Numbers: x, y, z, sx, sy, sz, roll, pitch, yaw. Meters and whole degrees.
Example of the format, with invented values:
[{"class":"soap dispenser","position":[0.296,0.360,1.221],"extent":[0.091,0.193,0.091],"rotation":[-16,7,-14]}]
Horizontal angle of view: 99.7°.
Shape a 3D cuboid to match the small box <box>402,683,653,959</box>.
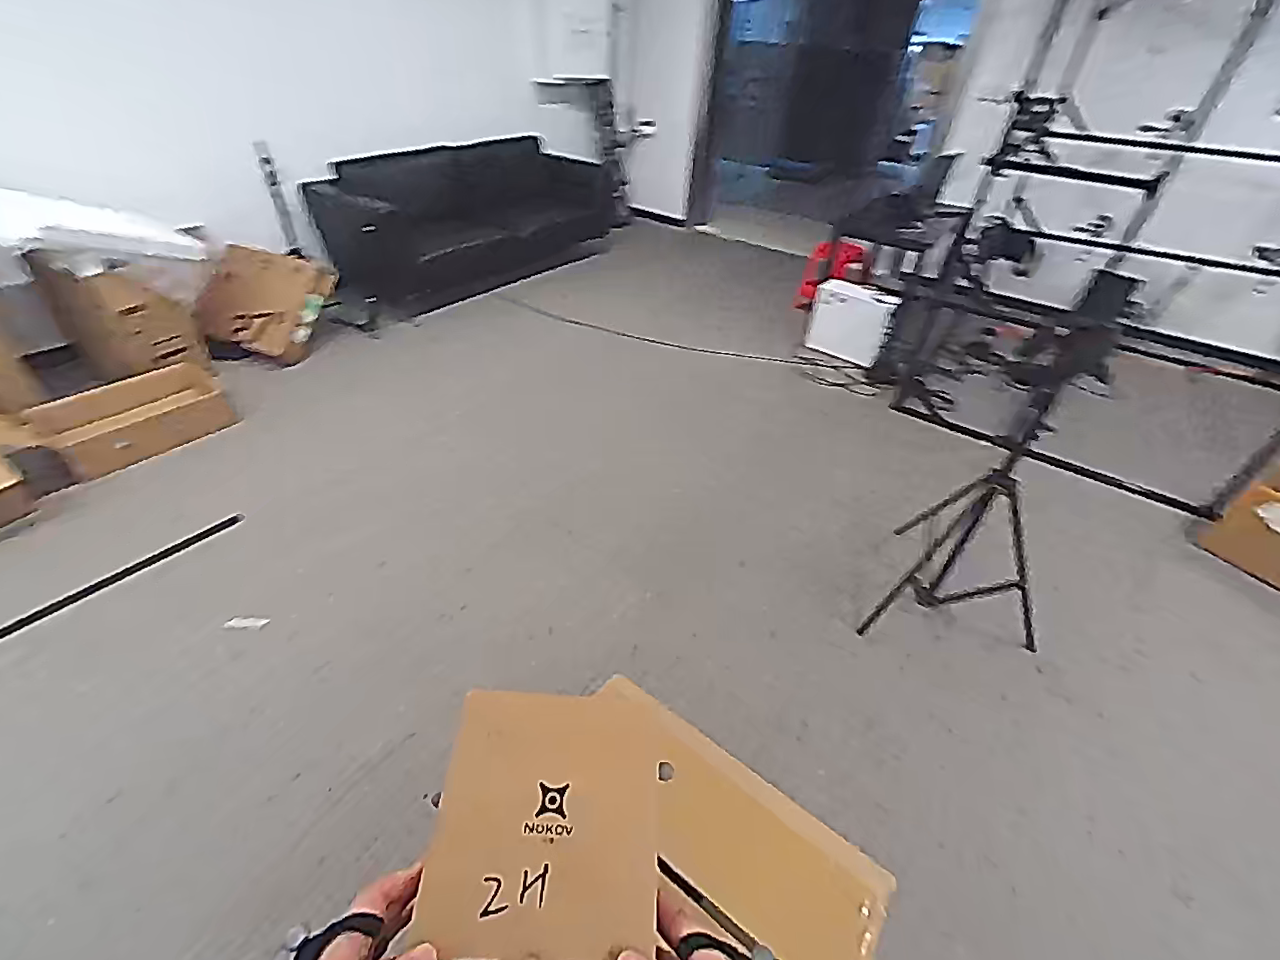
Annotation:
[{"class":"small box","position":[-0.082,0.297,0.469],"extent":[0.168,0.176,0.179],"rotation":[5,50,-4]}]
